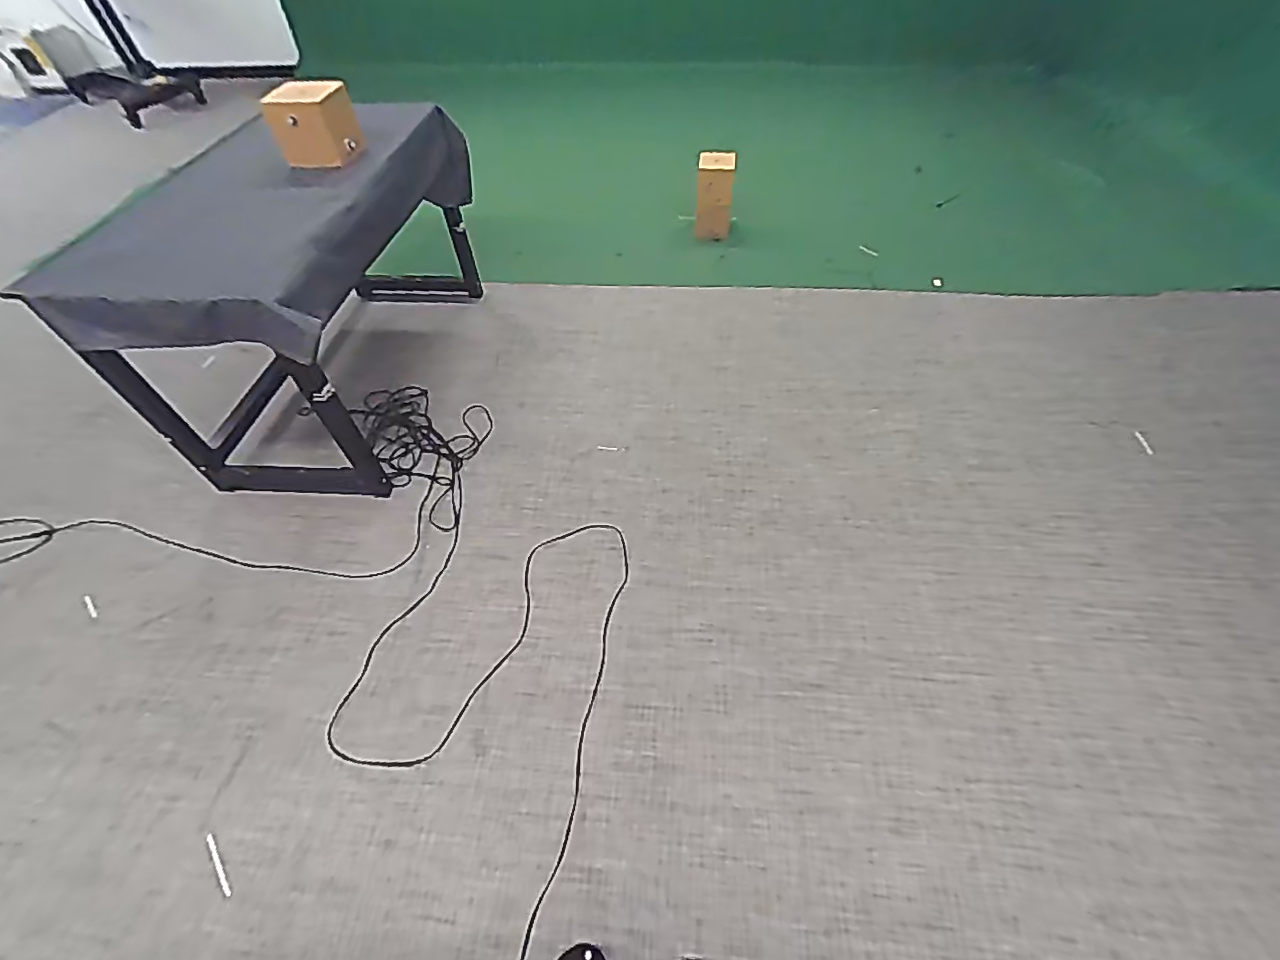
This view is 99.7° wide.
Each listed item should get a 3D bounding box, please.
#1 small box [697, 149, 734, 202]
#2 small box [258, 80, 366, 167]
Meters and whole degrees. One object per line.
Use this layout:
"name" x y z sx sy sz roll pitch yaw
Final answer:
"small box" 0.355 -1.434 2.547 0.168 0.176 0.179 4 52 6
"small box" -0.934 -1.024 1.555 0.179 0.176 0.168 3 53 4
